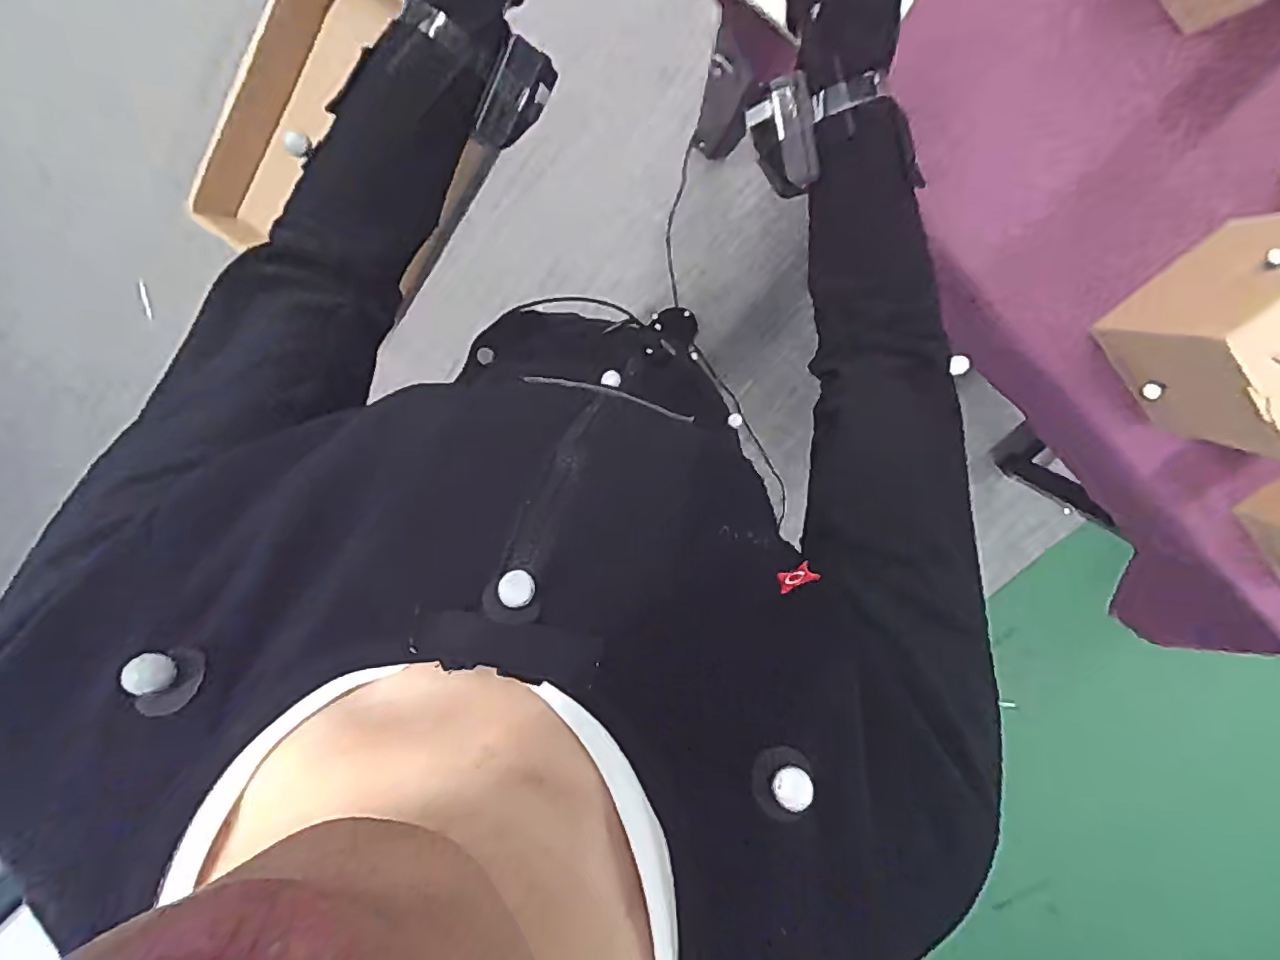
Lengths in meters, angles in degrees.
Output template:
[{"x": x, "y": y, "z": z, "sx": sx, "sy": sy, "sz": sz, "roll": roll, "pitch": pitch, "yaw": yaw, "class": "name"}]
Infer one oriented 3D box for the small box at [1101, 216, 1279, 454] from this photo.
[{"x": 0.656, "y": -0.157, "z": 0.565, "sx": 0.179, "sy": 0.176, "sz": 0.168, "roll": -41, "pitch": 103, "yaw": 15, "class": "small box"}]
